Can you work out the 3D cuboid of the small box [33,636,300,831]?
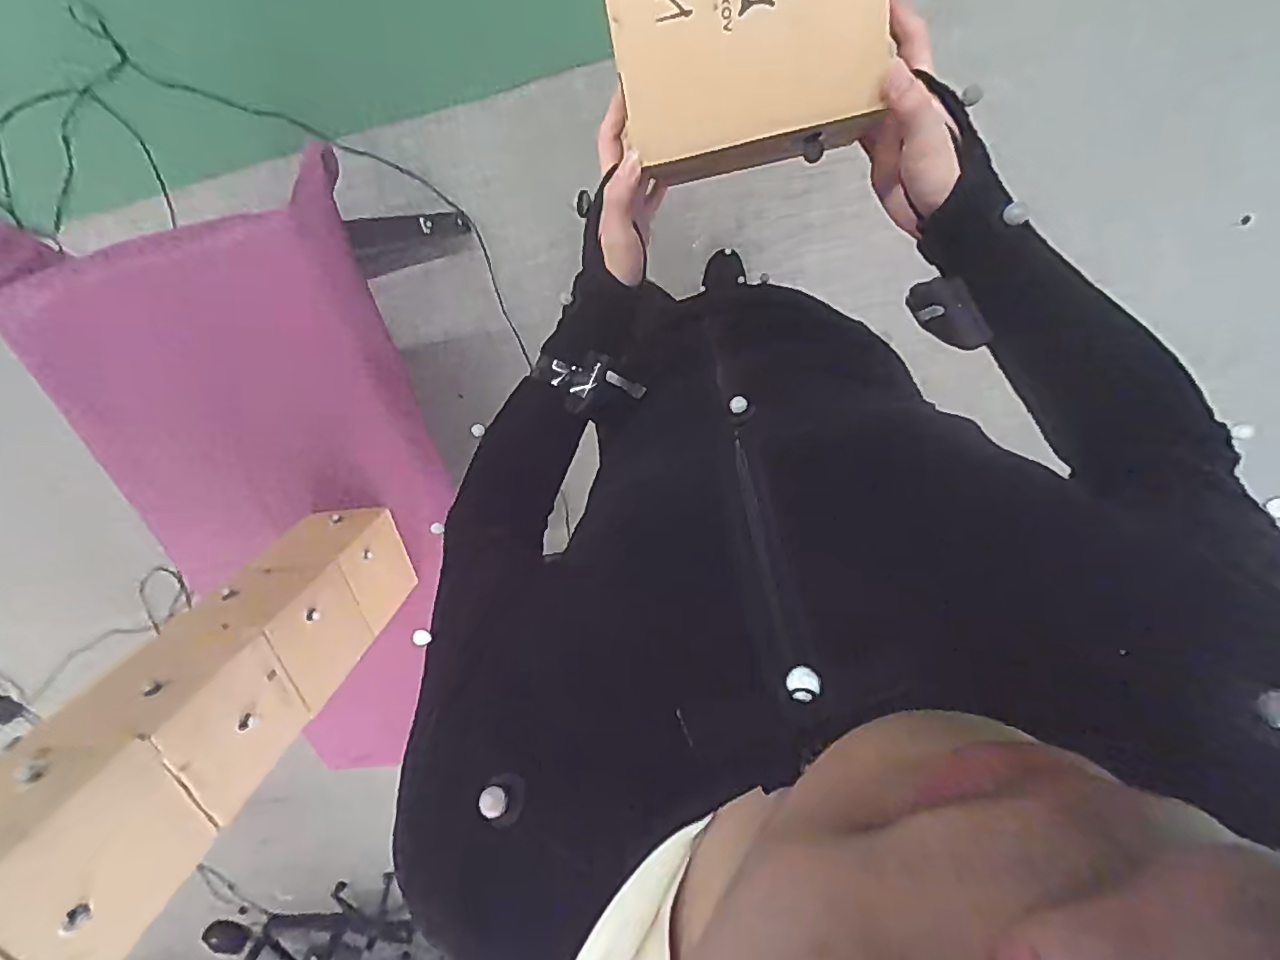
[{"bbox_3d":[-0.582,0.318,0.698,0.179,0.176,0.168,-5,115,10],"label":"small box"}]

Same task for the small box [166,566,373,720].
[{"bbox_3d":[-0.557,0.246,0.842,0.168,0.176,0.179,-5,115,10],"label":"small box"}]

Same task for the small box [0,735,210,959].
[{"bbox_3d":[-0.604,0.390,0.551,0.168,0.176,0.179,-7,114,11],"label":"small box"}]

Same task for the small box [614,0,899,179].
[{"bbox_3d":[0.086,-0.342,0.412,0.179,0.176,0.168,-4,112,16],"label":"small box"}]
